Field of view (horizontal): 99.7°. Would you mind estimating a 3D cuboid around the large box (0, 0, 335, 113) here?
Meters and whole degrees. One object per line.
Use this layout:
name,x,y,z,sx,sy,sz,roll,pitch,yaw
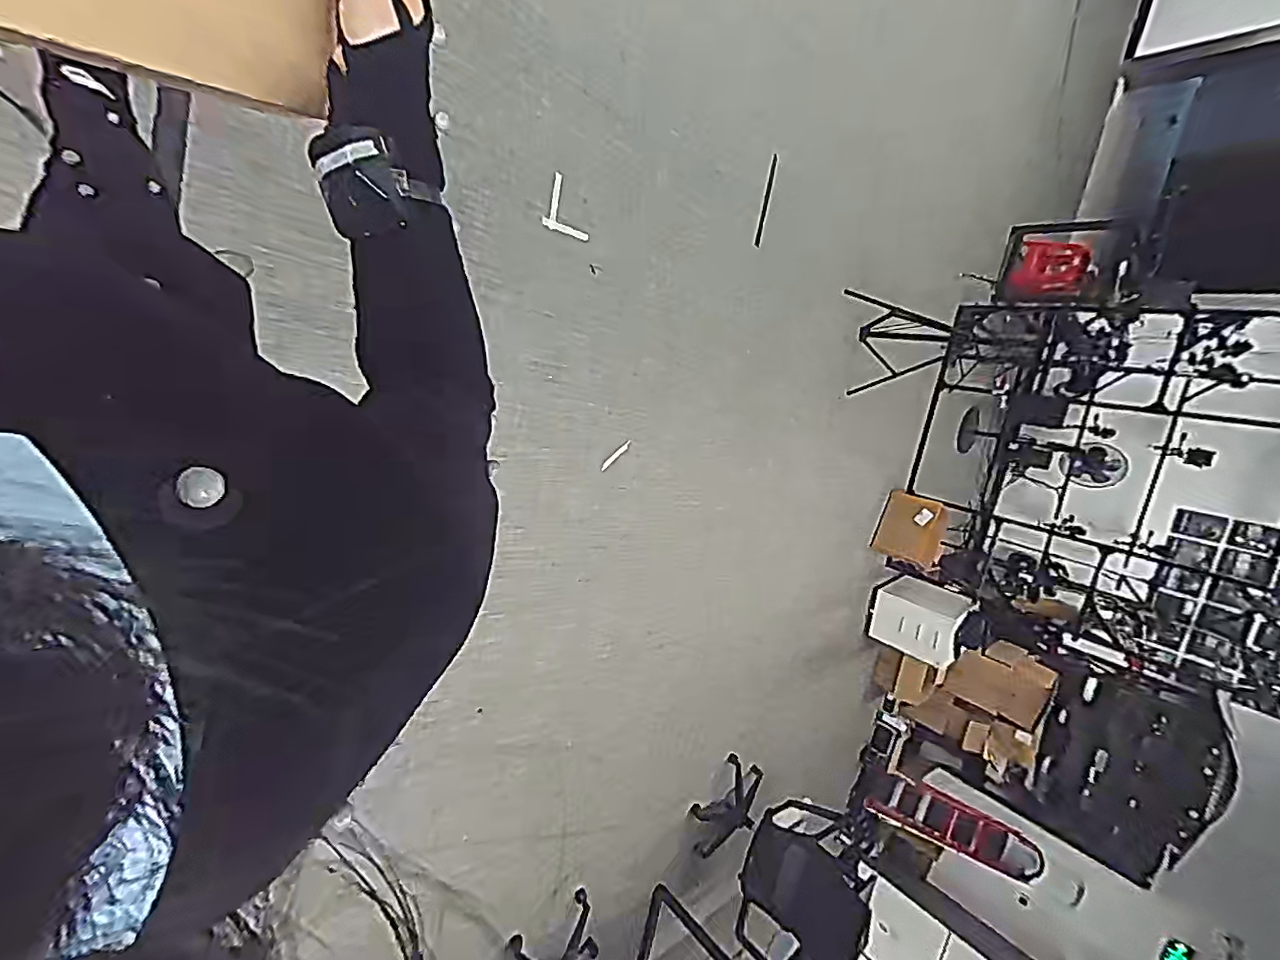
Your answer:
large box,-0.449,-0.473,0.344,0.408,0.320,0.320,-6,121,-38
